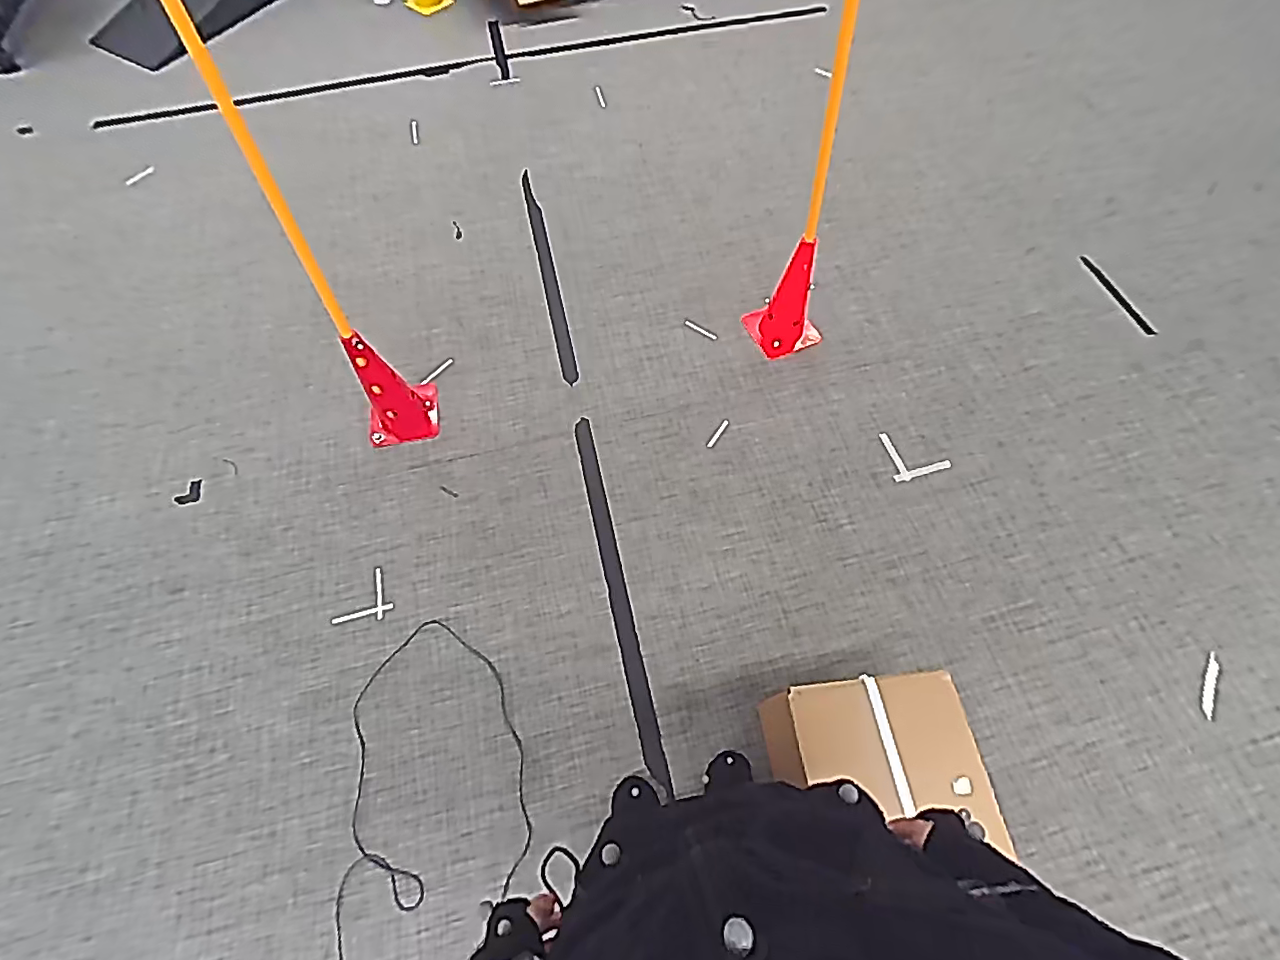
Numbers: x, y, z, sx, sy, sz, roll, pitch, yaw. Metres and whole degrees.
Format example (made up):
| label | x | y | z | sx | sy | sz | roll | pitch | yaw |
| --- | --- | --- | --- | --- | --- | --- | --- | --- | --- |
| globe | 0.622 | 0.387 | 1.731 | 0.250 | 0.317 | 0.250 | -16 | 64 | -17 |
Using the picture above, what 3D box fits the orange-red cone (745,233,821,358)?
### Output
| label | x | y | z | sx | sy | sz | roll | pitch | yaw |
| --- | --- | --- | --- | --- | --- | --- | --- | --- | --- |
| orange-red cone | 0.458 | -0.565 | 1.589 | 0.199 | 0.360 | 0.198 | -20 | 66 | -10 |
